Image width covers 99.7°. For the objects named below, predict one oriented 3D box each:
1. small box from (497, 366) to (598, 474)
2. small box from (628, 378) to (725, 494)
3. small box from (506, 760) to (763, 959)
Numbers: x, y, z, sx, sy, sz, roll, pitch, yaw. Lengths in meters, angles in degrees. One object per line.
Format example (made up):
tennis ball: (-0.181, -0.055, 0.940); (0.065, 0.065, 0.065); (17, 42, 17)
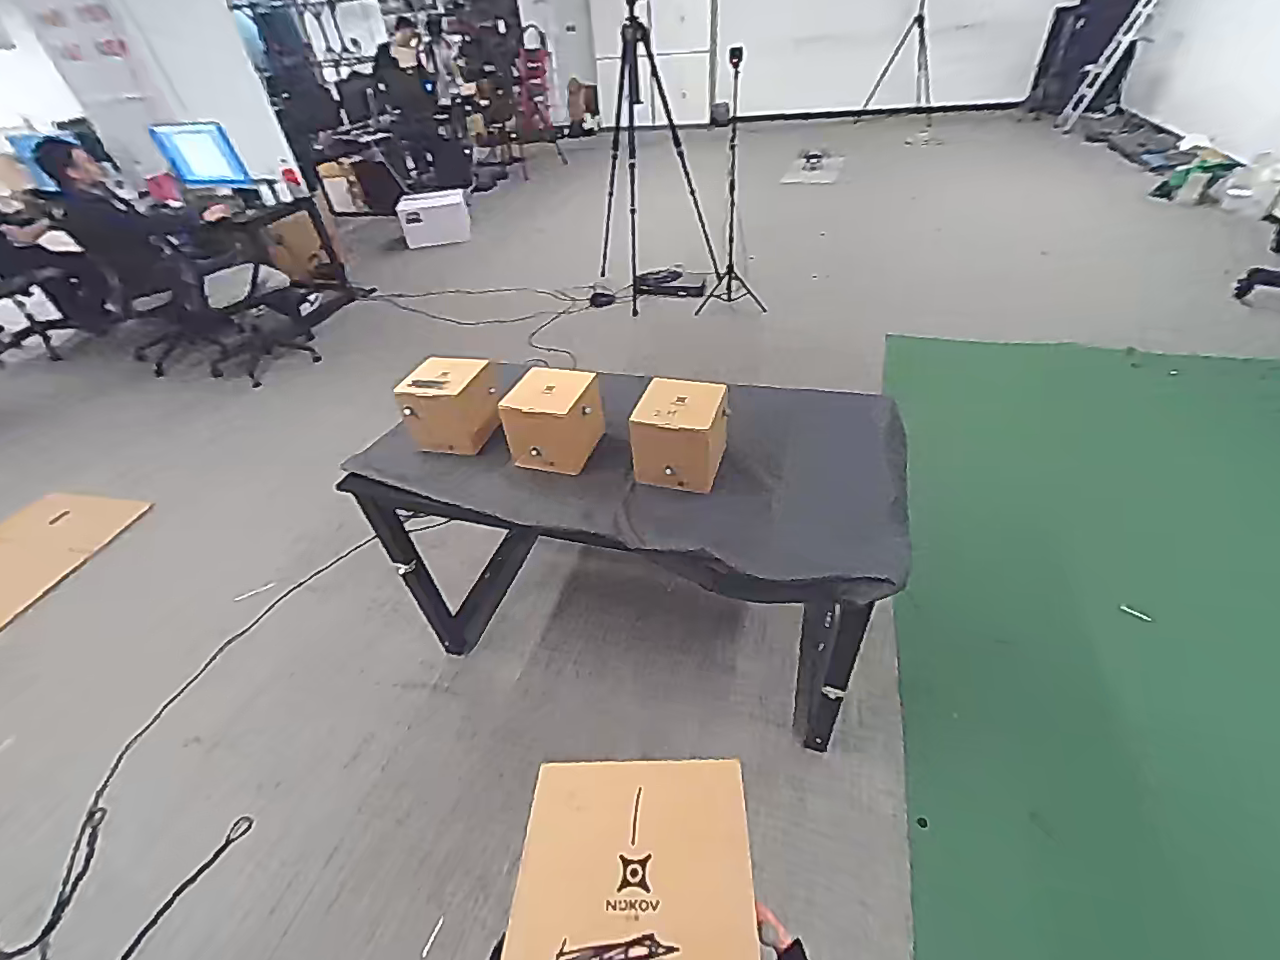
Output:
small box: (-0.203, -0.140, 1.248); (0.168, 0.176, 0.179); (10, 44, 16)
small box: (0.082, -0.098, 1.168); (0.168, 0.176, 0.179); (9, 43, 17)
small box: (0.008, 0.343, 0.414); (0.168, 0.176, 0.179); (-3, 34, 7)
